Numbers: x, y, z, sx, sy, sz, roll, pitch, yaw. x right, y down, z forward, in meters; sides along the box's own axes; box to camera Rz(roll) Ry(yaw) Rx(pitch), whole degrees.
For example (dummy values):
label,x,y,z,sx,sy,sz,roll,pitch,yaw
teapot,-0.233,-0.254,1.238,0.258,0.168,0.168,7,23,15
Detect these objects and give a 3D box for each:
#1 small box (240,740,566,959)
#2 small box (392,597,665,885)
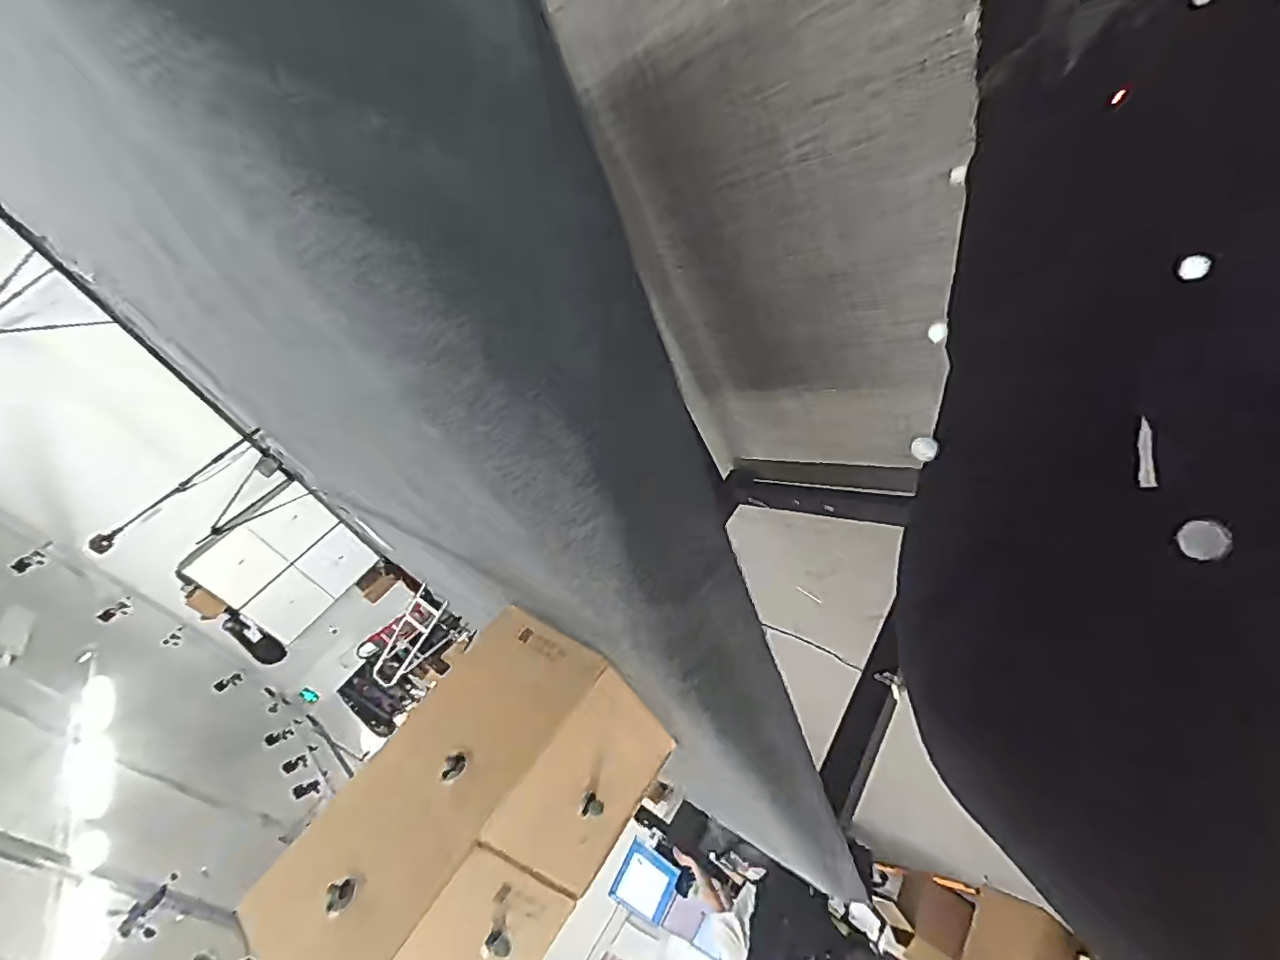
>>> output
label,x,y,z,sx,sy,sz,roll,pitch,yaw
small box,-0.200,0.366,0.482,0.179,0.176,0.168,11,141,43
small box,-0.101,0.253,0.550,0.168,0.176,0.179,11,142,44
